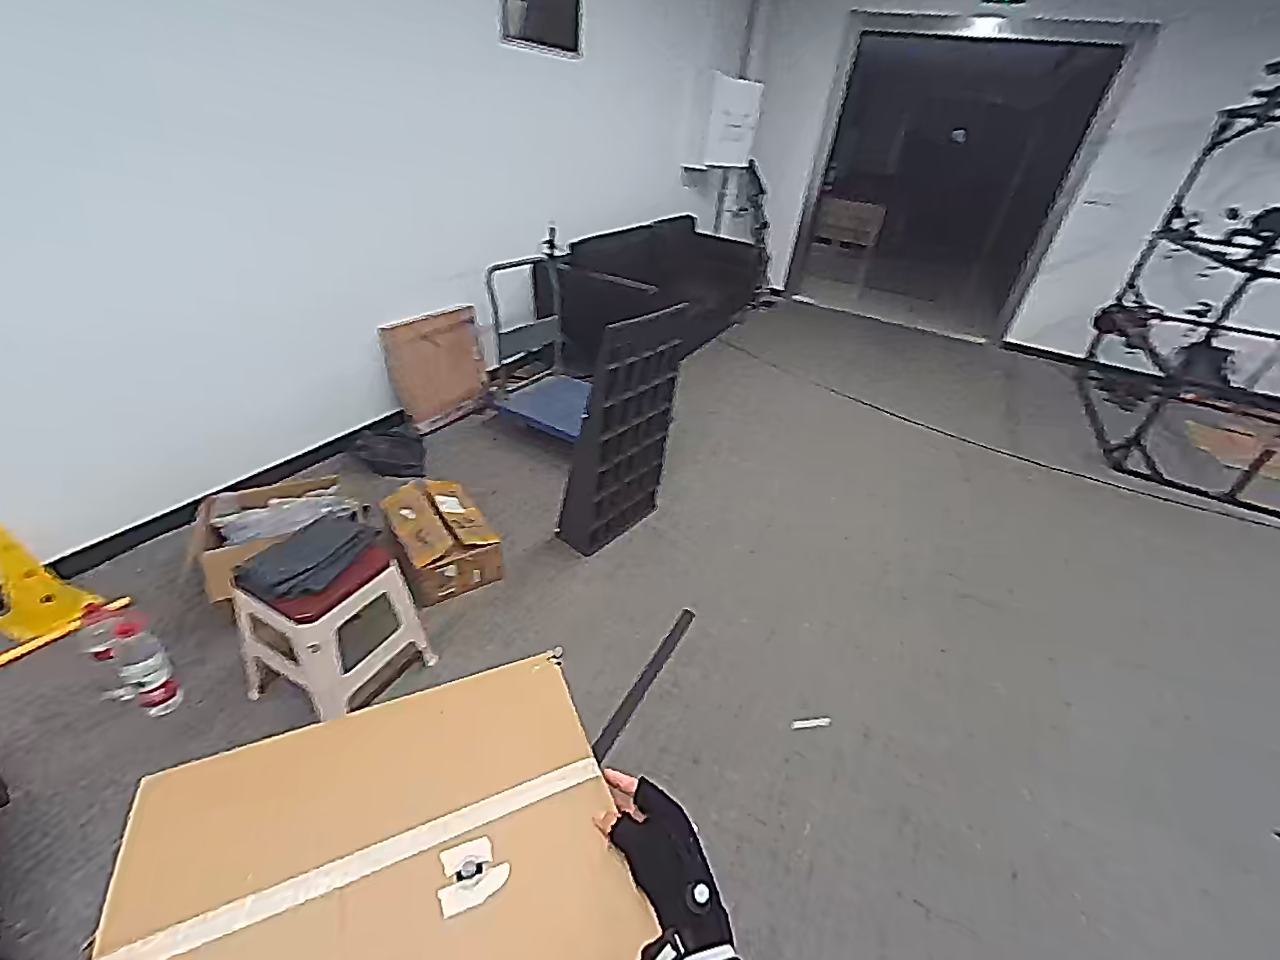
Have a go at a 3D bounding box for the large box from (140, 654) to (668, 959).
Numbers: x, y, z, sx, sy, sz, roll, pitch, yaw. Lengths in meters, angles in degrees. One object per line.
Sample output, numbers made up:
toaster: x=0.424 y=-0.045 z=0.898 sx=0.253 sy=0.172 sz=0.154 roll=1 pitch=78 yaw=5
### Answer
large box: x=-0.228 y=0.458 z=0.586 sx=0.408 sy=0.320 sz=0.320 roll=-9 pitch=39 yaw=-22
